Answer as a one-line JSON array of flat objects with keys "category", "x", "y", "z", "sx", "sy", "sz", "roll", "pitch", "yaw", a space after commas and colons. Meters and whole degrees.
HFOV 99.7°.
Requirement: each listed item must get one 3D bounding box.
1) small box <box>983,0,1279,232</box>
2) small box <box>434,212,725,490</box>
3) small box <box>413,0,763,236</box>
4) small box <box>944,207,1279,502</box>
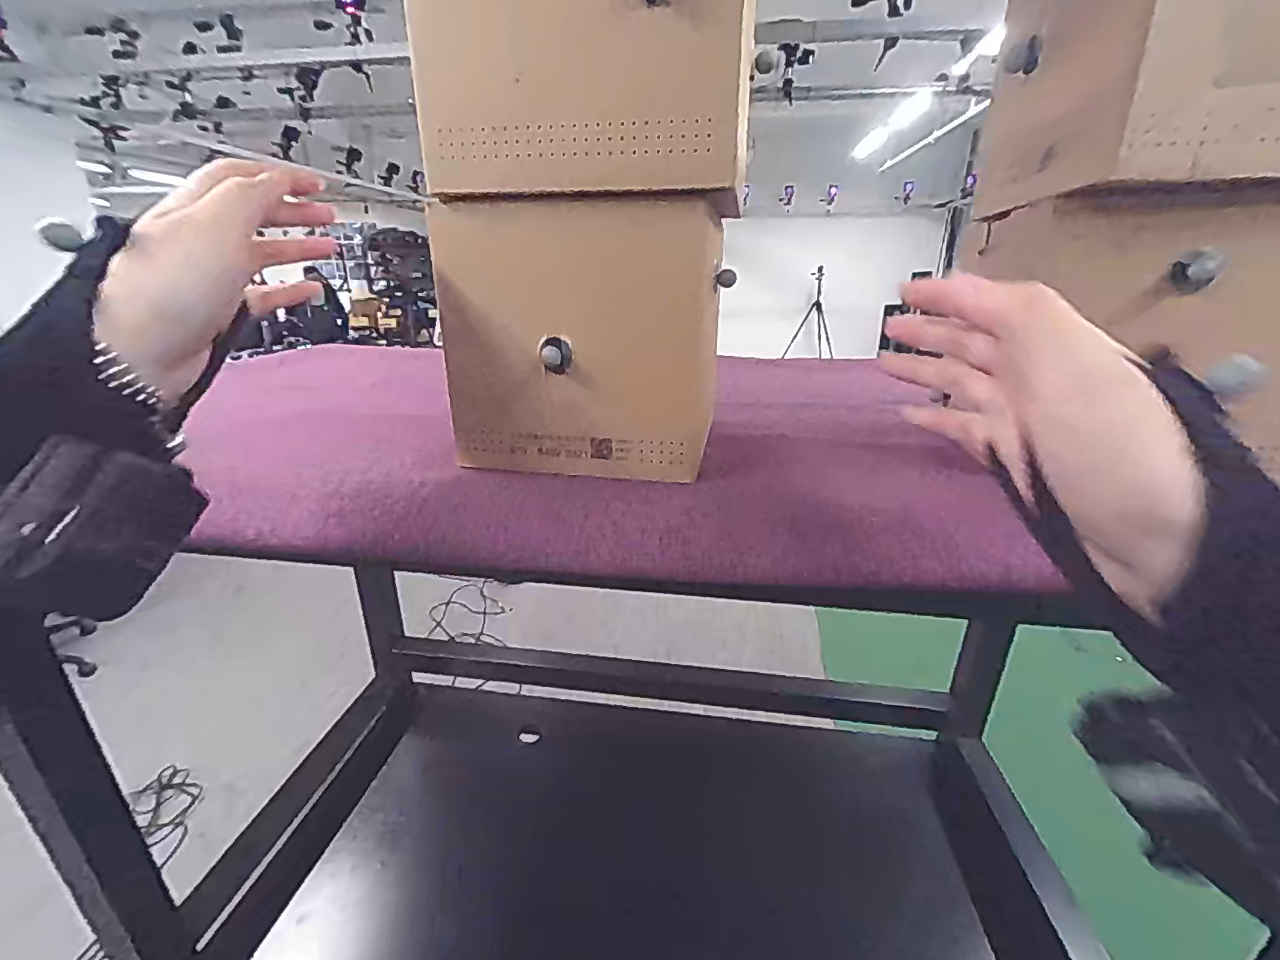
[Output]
[{"category": "small box", "x": 0.330, "y": -0.240, "z": 0.319, "sx": 0.179, "sy": 0.176, "sz": 0.168, "roll": 3, "pitch": 19, "yaw": 9}, {"category": "small box", "x": -0.027, "y": -0.100, "z": 0.409, "sx": 0.168, "sy": 0.176, "sz": 0.179, "roll": 5, "pitch": 21, "yaw": 10}, {"category": "small box", "x": -0.017, "y": -0.247, "z": 0.339, "sx": 0.179, "sy": 0.176, "sz": 0.168, "roll": 3, "pitch": 20, "yaw": 10}, {"category": "small box", "x": 0.336, "y": -0.091, "z": 0.385, "sx": 0.179, "sy": 0.176, "sz": 0.168, "roll": 5, "pitch": 20, "yaw": 13}]
